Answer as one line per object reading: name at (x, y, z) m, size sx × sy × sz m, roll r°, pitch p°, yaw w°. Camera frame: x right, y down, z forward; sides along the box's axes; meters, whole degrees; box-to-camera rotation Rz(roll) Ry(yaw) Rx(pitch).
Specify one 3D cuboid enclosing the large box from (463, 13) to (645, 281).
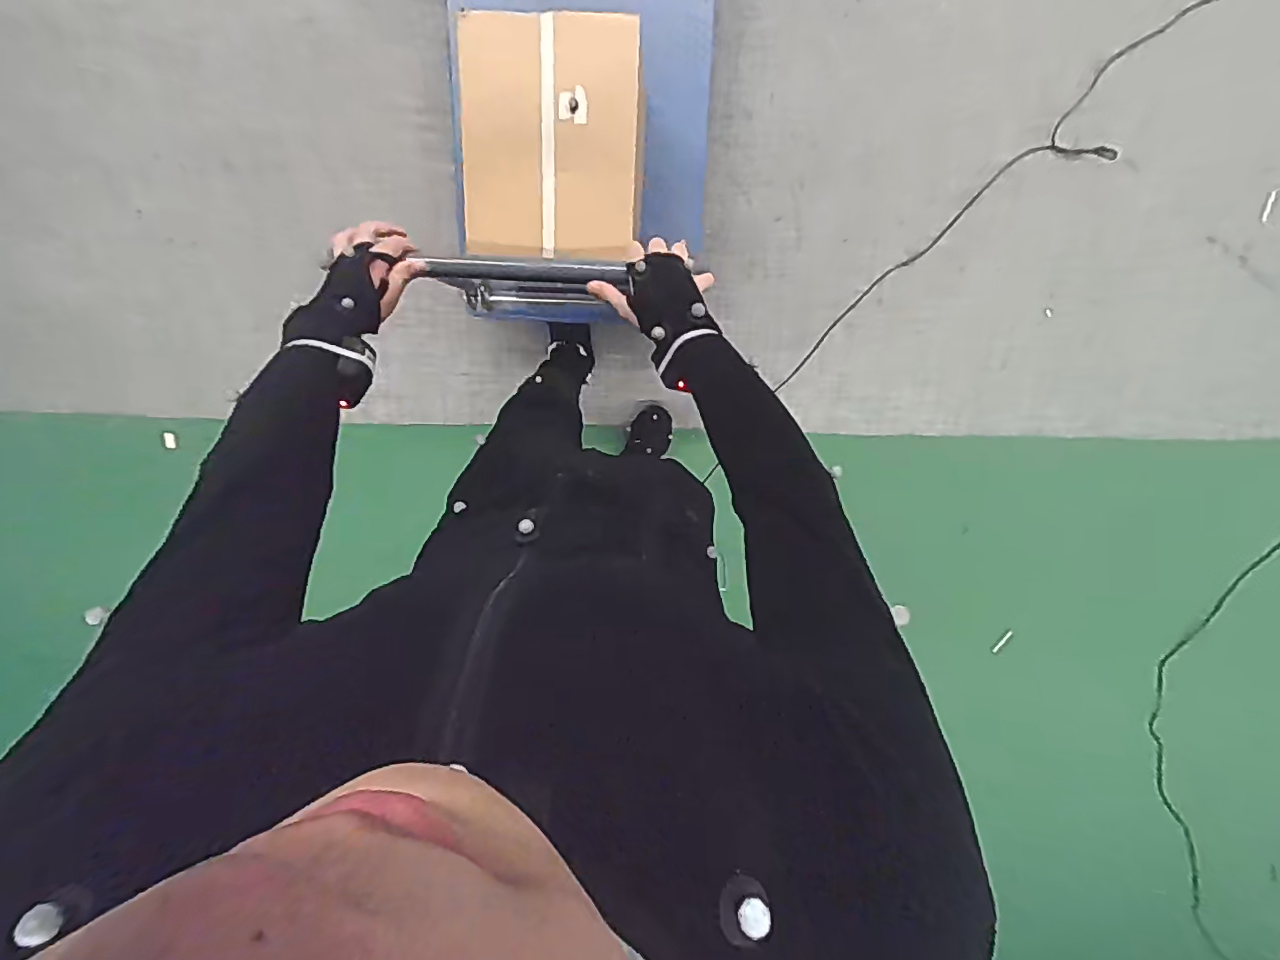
large box at (-0.154, -0.640, 1.118) m, size 0.320 × 0.320 × 0.408 m, roll 3°, pitch 105°, yaw 1°
